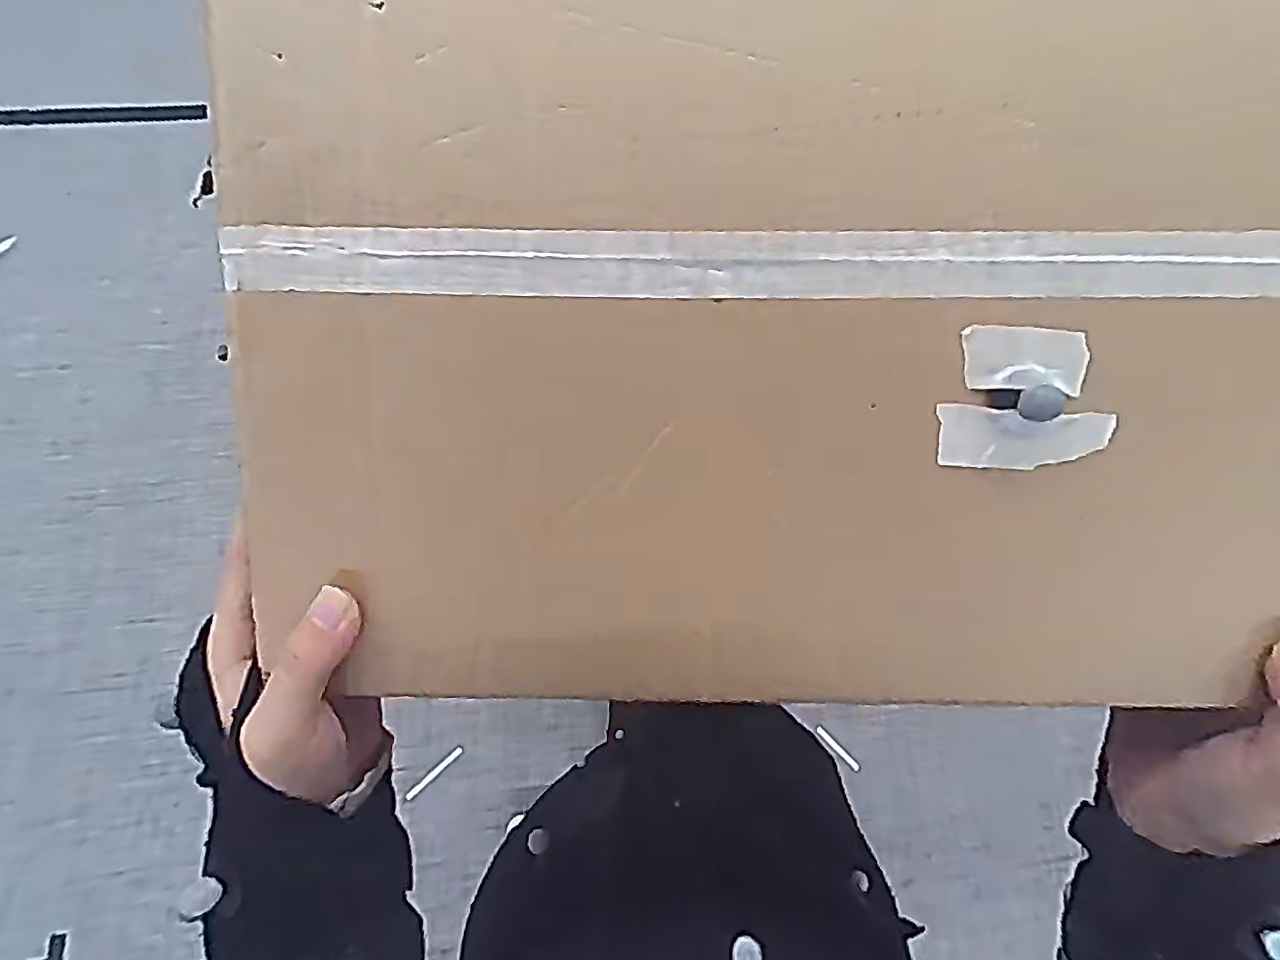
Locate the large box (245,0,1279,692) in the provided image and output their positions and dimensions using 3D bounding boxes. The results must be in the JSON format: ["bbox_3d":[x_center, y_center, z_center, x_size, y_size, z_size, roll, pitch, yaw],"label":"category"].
[{"bbox_3d":[0.059,-0.087,0.344,0.408,0.320,0.320,0,97,-1],"label":"large box"}]
